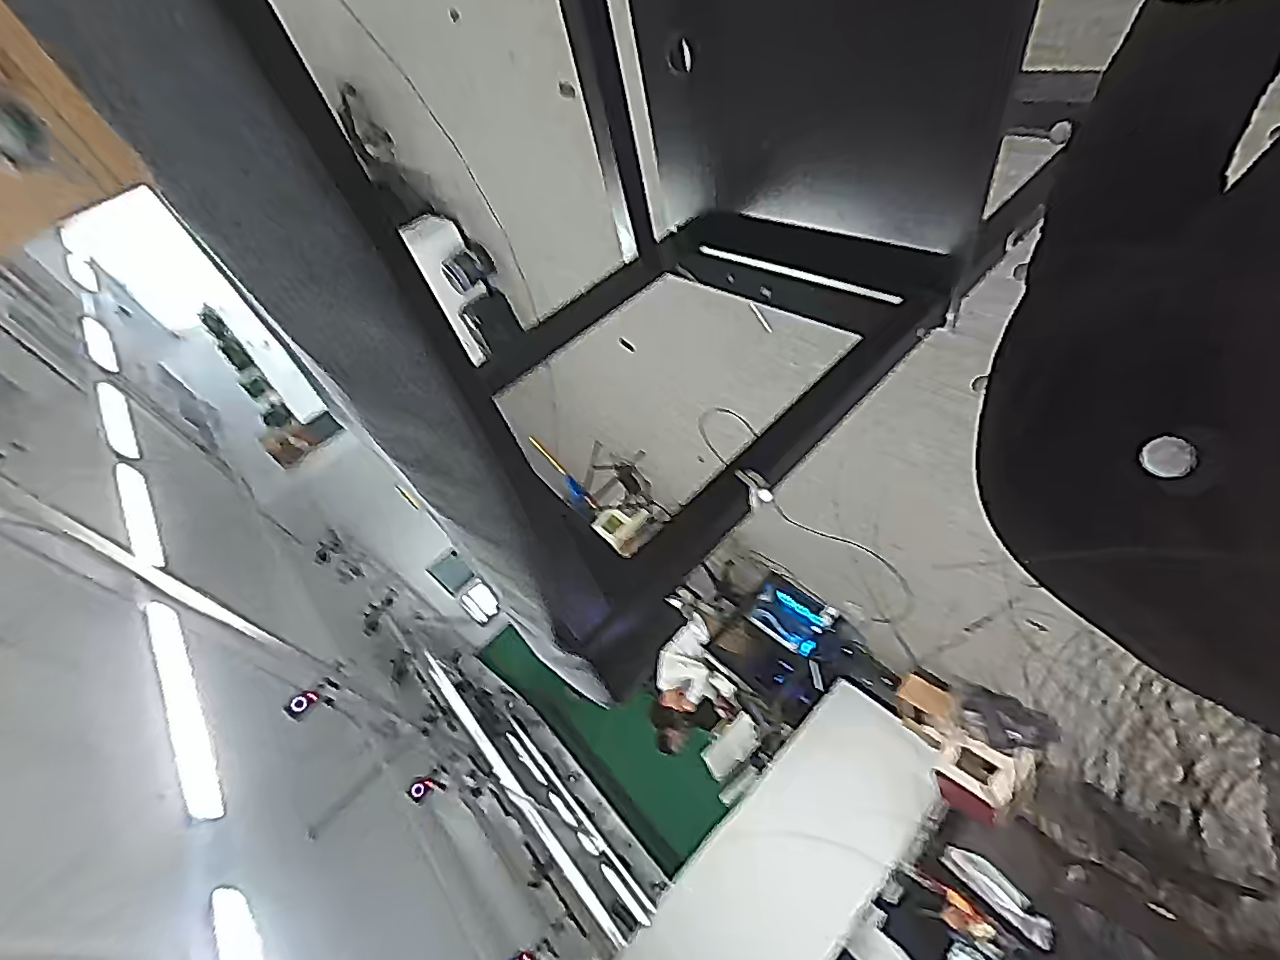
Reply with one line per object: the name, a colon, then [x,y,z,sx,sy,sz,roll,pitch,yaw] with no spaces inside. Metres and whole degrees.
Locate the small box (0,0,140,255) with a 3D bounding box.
small box: [-0.338,-0.165,0.196,0.179,0.176,0.168,37,158,37]
